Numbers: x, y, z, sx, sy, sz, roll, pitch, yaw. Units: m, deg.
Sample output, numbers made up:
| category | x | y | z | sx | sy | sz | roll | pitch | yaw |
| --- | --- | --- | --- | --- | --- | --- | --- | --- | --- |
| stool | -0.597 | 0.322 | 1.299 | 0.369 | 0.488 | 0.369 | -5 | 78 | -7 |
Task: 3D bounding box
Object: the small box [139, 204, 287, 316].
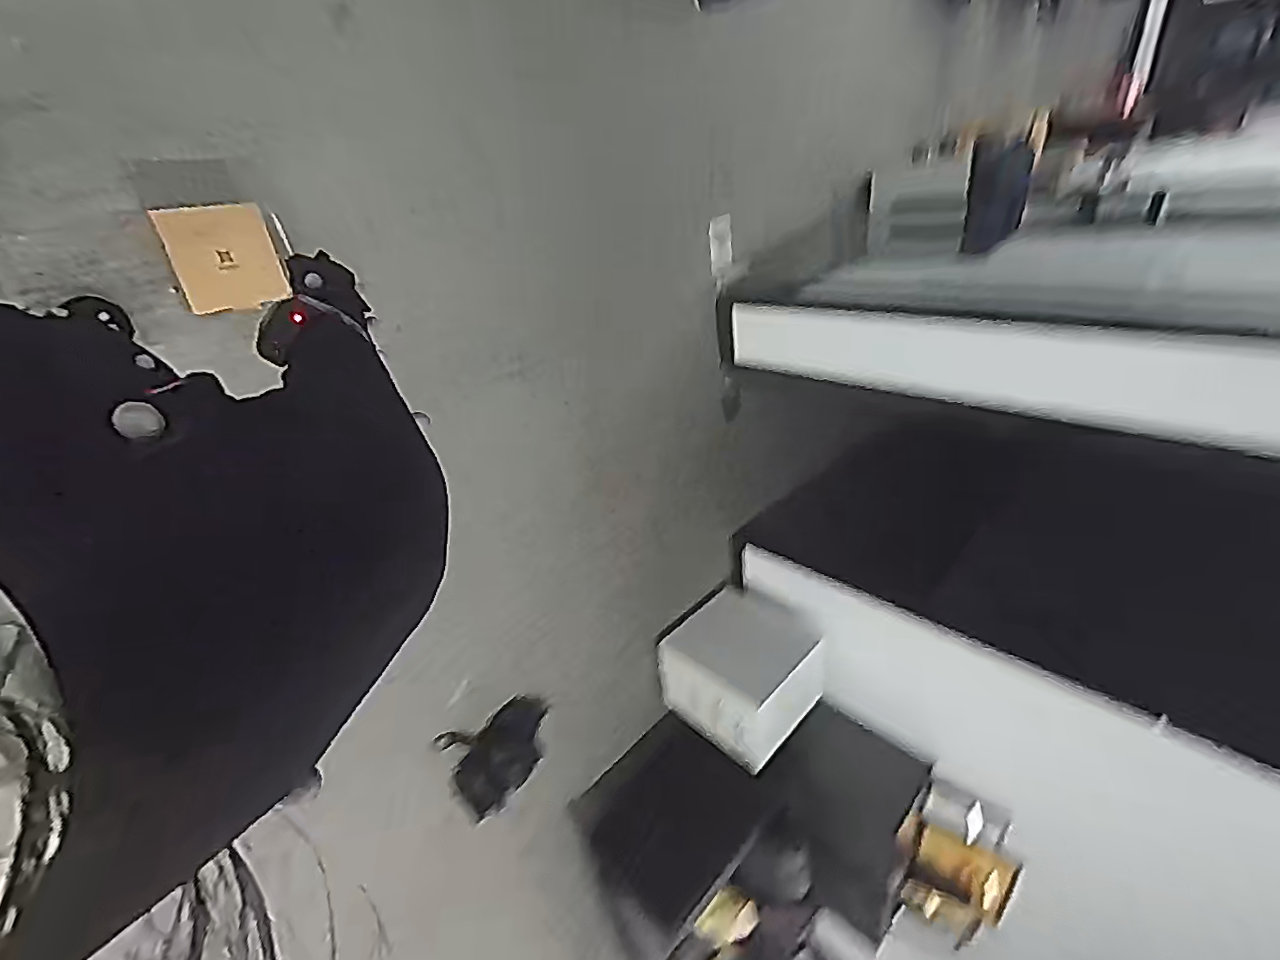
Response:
| category | x | y | z | sx | sy | sz | roll | pitch | yaw |
| --- | --- | --- | --- | --- | --- | --- | --- | --- | --- |
| small box | -0.816 | -0.424 | 1.037 | 0.168 | 0.176 | 0.179 | -28 | 123 | -37 |
